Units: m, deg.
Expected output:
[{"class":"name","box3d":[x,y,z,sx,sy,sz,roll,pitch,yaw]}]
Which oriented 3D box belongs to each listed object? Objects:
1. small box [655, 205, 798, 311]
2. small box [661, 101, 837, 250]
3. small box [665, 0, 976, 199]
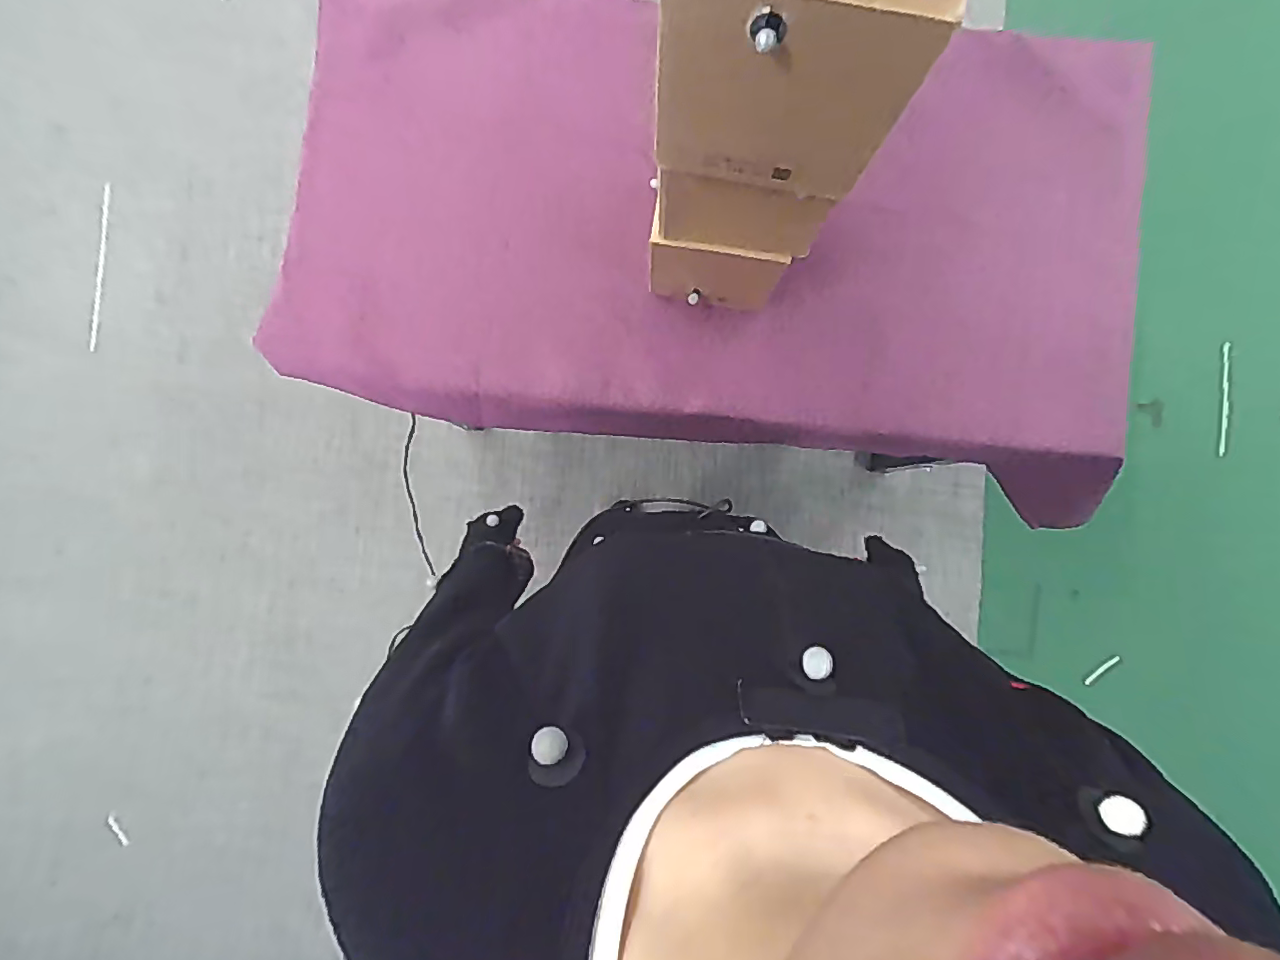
[{"class":"small box","box3d":[0.113,-0.342,0.696,0.168,0.176,0.179,10,88,2]},{"class":"small box","box3d":[0.117,-0.350,0.535,0.179,0.176,0.168,8,88,1]},{"class":"small box","box3d":[0.112,-0.333,0.370,0.168,0.176,0.179,11,87,2]}]
